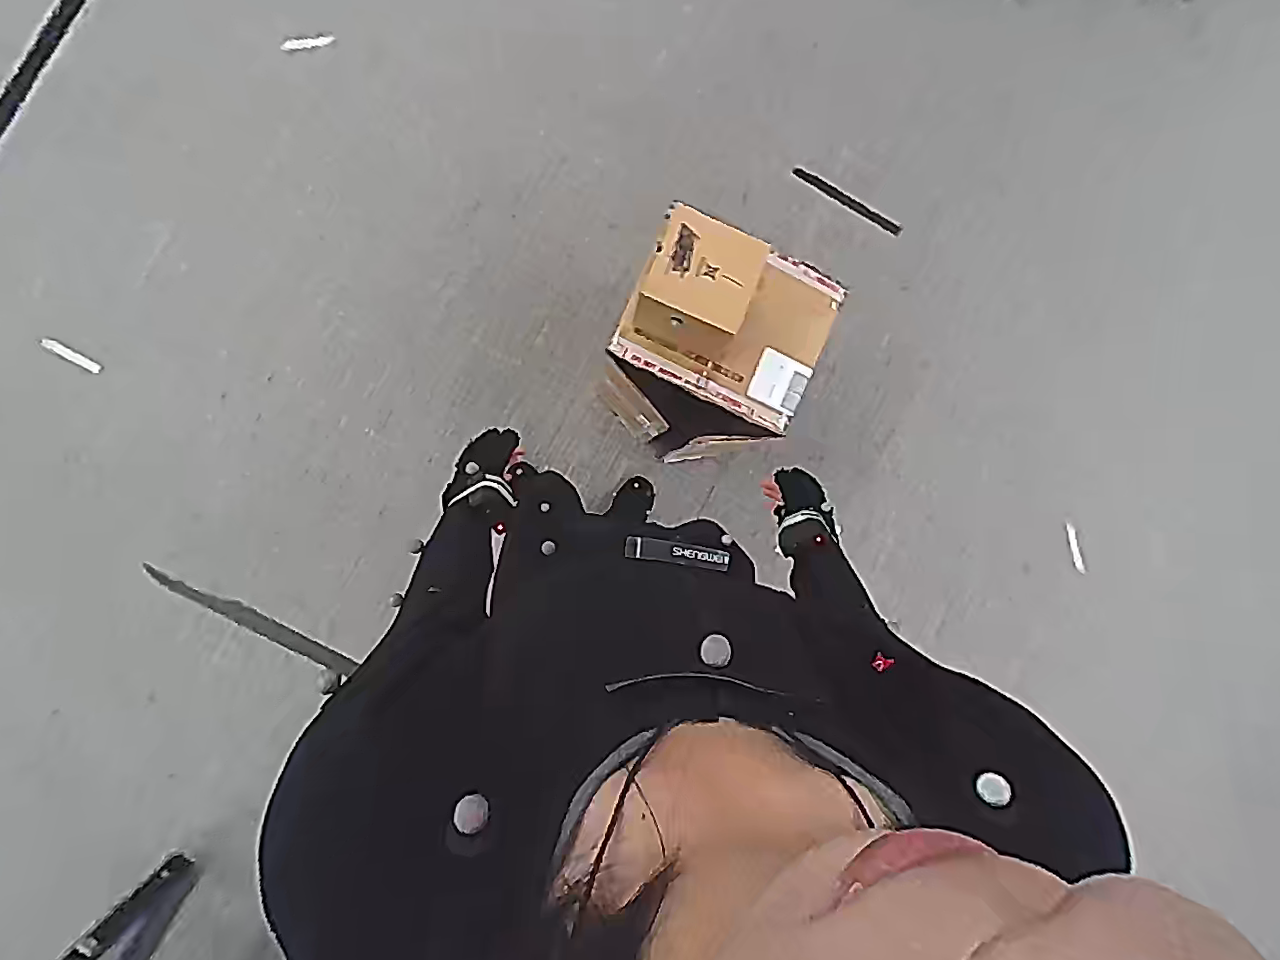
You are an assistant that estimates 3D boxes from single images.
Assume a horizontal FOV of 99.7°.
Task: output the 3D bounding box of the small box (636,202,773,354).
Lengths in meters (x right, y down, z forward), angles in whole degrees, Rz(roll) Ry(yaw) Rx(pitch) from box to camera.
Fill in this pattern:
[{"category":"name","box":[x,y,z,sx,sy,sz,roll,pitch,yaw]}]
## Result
[{"category":"small box","box":[0.102,-0.342,0.953,0.179,0.176,0.168,23,87,-4]}]
